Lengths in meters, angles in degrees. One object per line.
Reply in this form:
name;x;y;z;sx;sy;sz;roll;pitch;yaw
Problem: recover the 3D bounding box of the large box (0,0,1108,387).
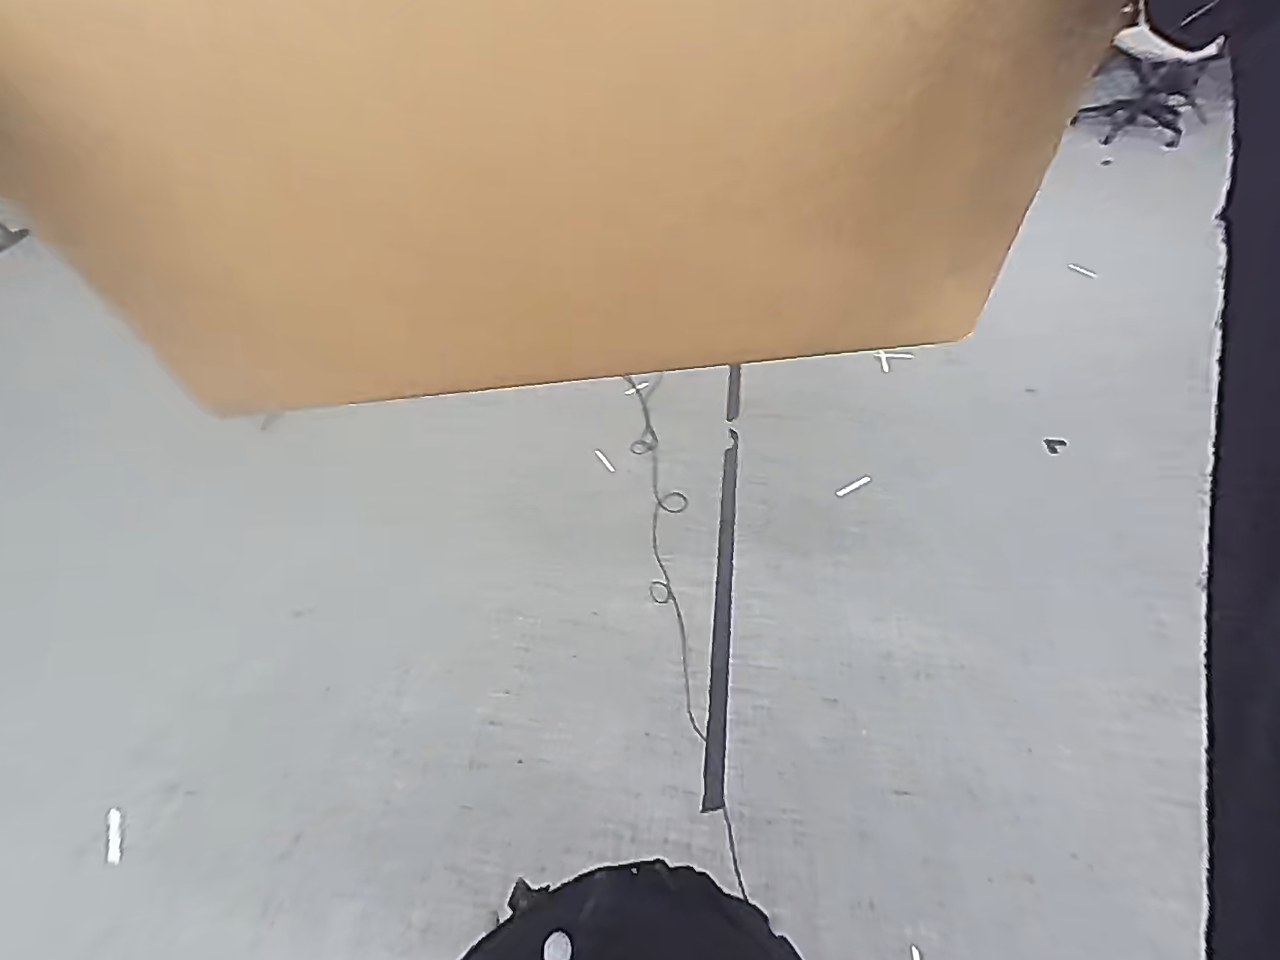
large box;-0.042;-0.273;0.272;0.408;0.320;0.320;-5;50;0
